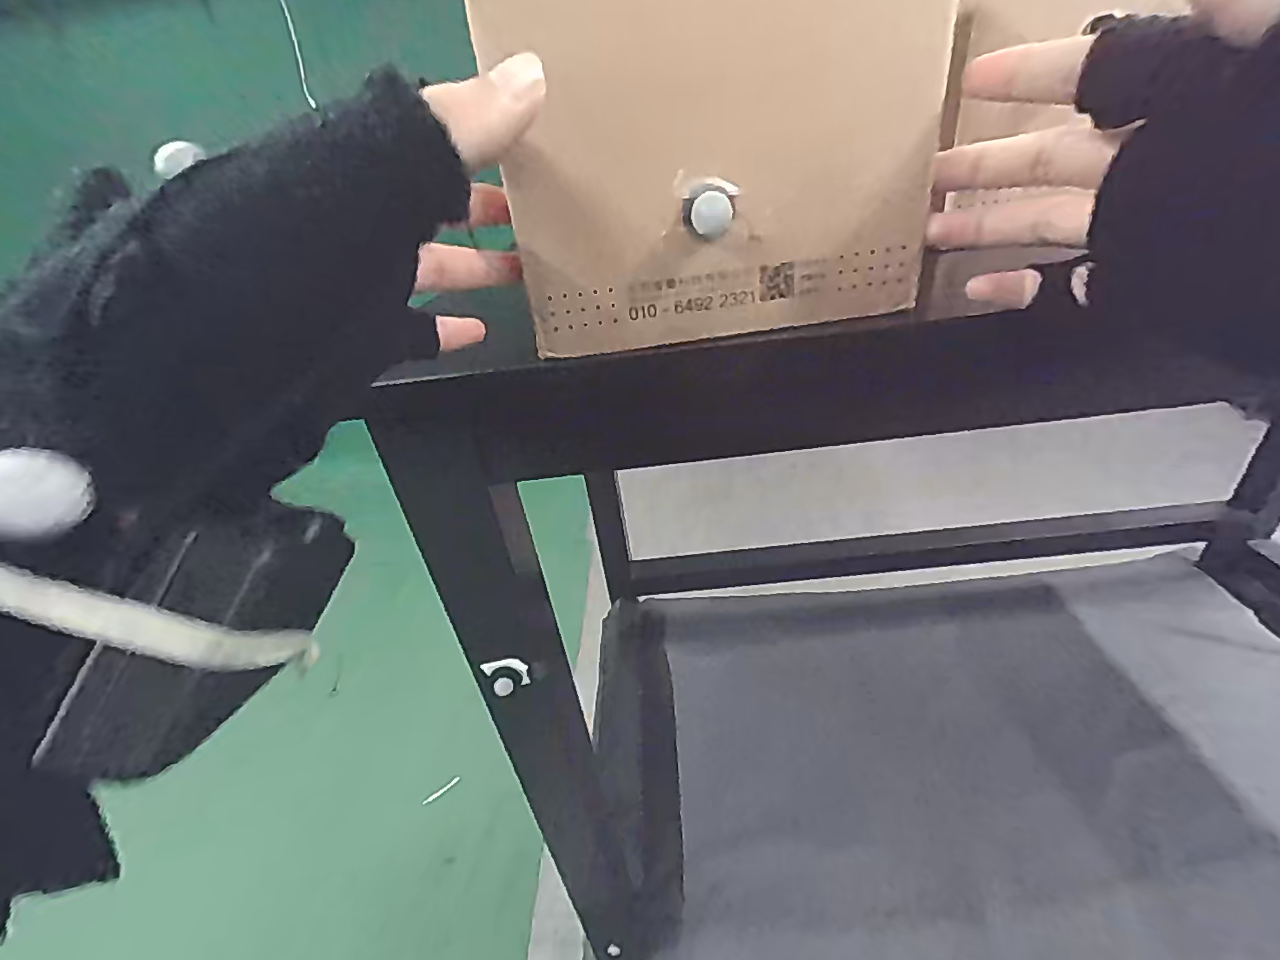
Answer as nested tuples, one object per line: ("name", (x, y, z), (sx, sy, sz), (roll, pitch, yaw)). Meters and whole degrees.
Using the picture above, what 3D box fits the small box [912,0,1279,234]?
("small box", (0.259, -0.261, 0.344), (0.168, 0.176, 0.179), (-2, 31, 11))

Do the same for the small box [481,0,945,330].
("small box", (0.023, -0.183, 0.269), (0.168, 0.176, 0.179), (-8, 31, 1))
